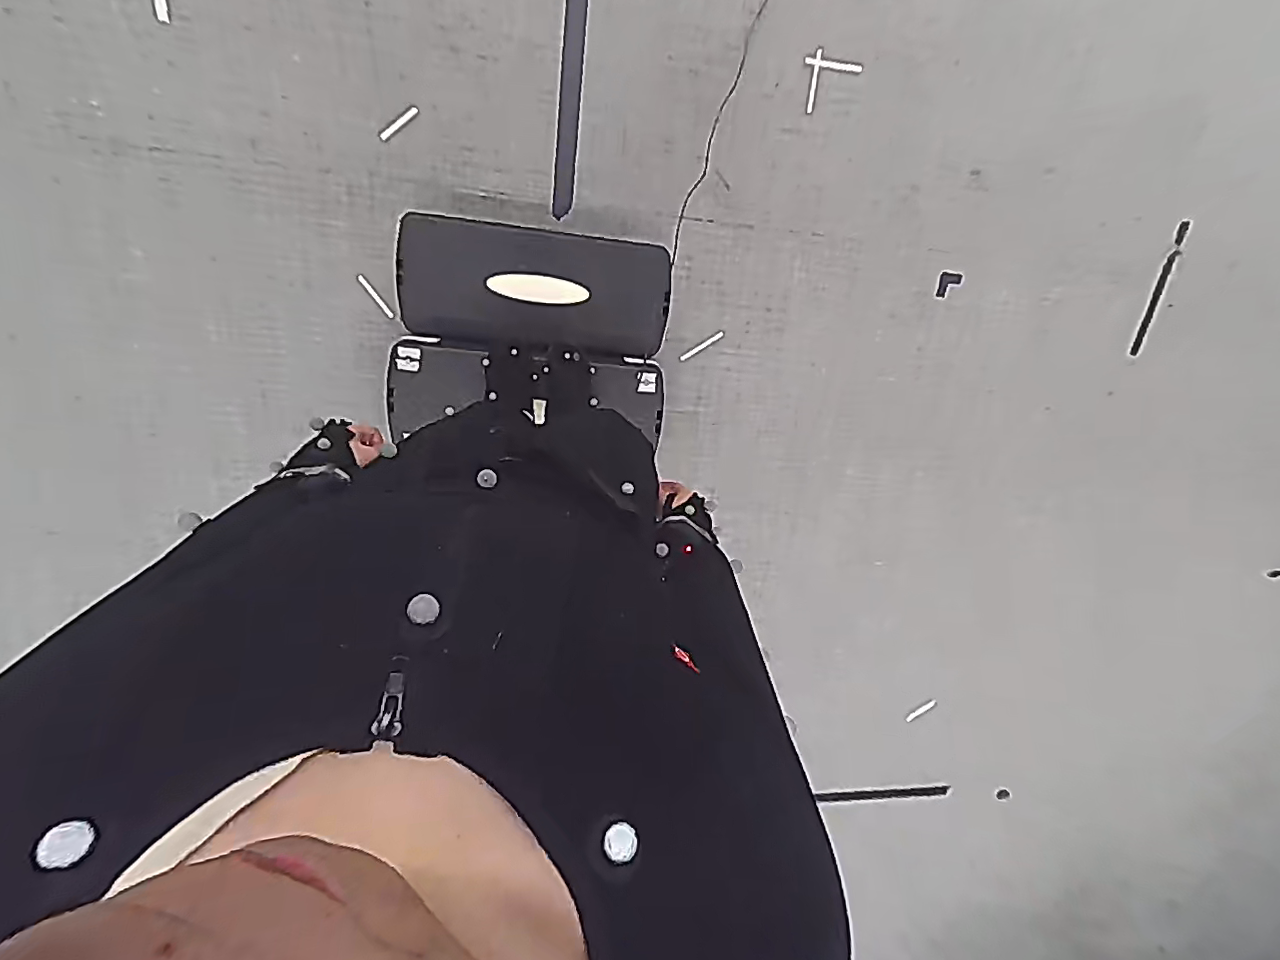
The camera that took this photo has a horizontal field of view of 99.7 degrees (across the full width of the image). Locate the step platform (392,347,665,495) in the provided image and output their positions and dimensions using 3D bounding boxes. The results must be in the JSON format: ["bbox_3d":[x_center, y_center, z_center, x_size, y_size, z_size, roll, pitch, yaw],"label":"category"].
[{"bbox_3d":[-0.276,-0.150,1.417,0.684,0.204,0.286,8,105,-10],"label":"step platform"}]
